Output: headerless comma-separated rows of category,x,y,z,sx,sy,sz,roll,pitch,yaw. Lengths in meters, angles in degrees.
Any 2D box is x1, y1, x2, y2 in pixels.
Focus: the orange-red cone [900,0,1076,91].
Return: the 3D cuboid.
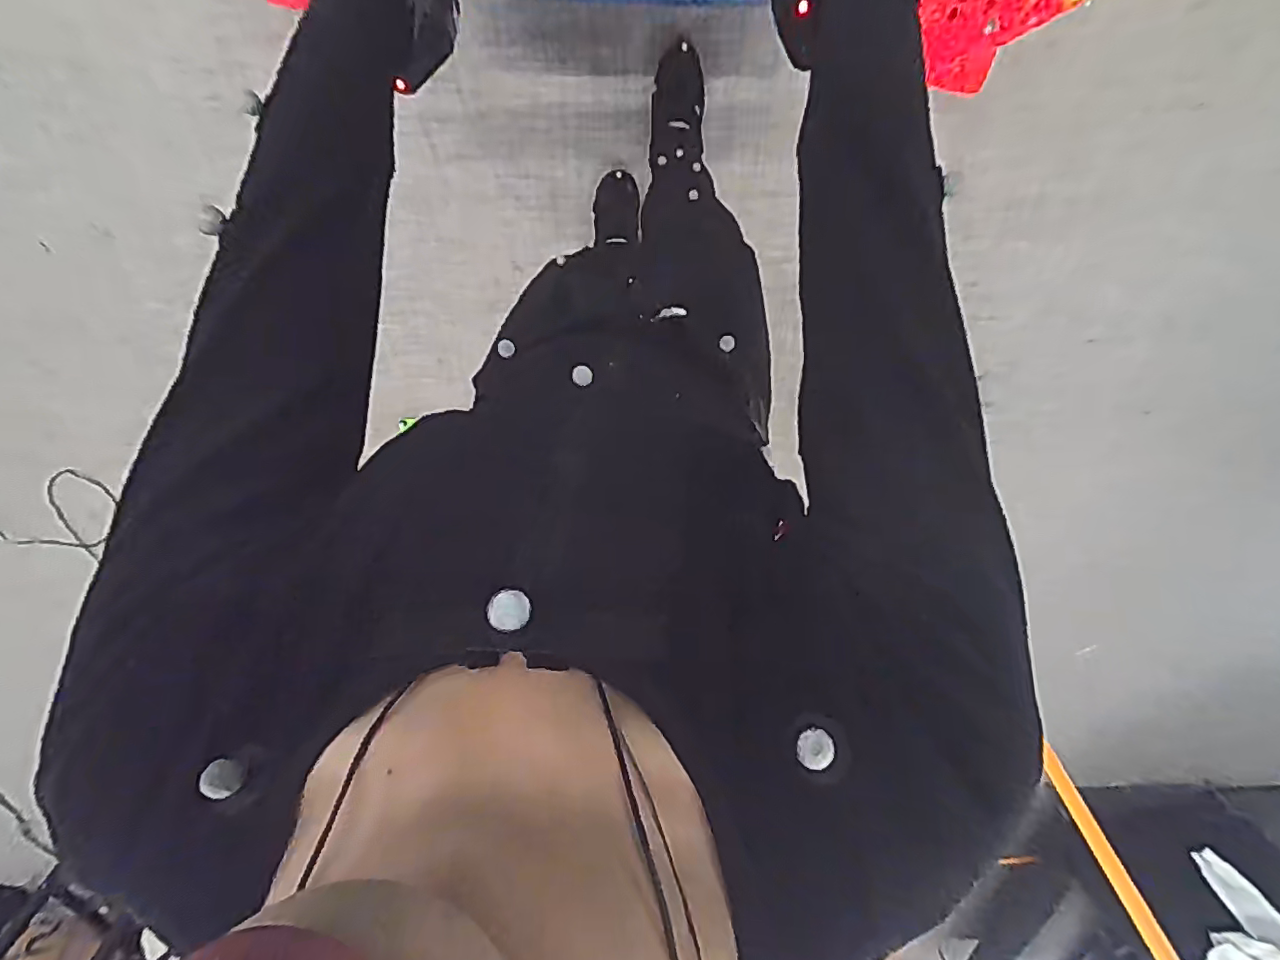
orange-red cone,0.653,-0.831,0.954,0.198,0.360,0.199,9,123,-6
